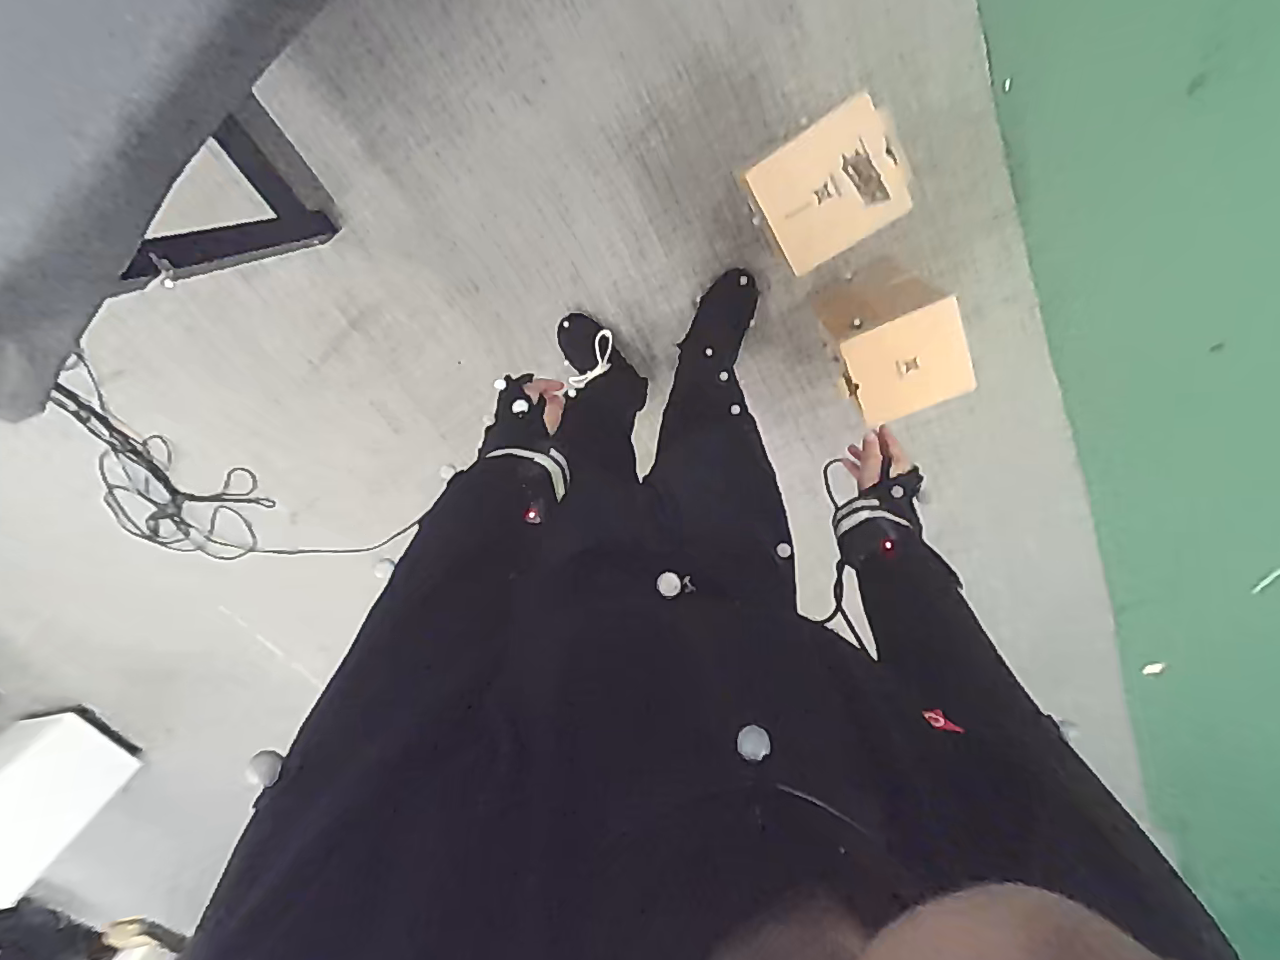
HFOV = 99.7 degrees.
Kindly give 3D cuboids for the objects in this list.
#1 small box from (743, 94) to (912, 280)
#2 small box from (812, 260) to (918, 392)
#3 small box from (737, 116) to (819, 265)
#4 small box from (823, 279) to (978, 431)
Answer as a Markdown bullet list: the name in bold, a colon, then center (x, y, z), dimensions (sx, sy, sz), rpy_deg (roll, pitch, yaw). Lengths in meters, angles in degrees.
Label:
- **small box**: center (0.267, -0.432, 0.807), dimensions (0.179, 0.176, 0.168), rpy_deg (-28, 113, 23)
- **small box**: center (0.447, -0.302, 1.053), dimensions (0.179, 0.176, 0.168), rpy_deg (-22, 117, 21)
- **small box**: center (0.282, -0.512, 0.950), dimensions (0.179, 0.176, 0.168), rpy_deg (-27, 113, 23)
- **small box**: center (0.431, -0.216, 0.915), dimensions (0.179, 0.176, 0.168), rpy_deg (-22, 116, 19)
